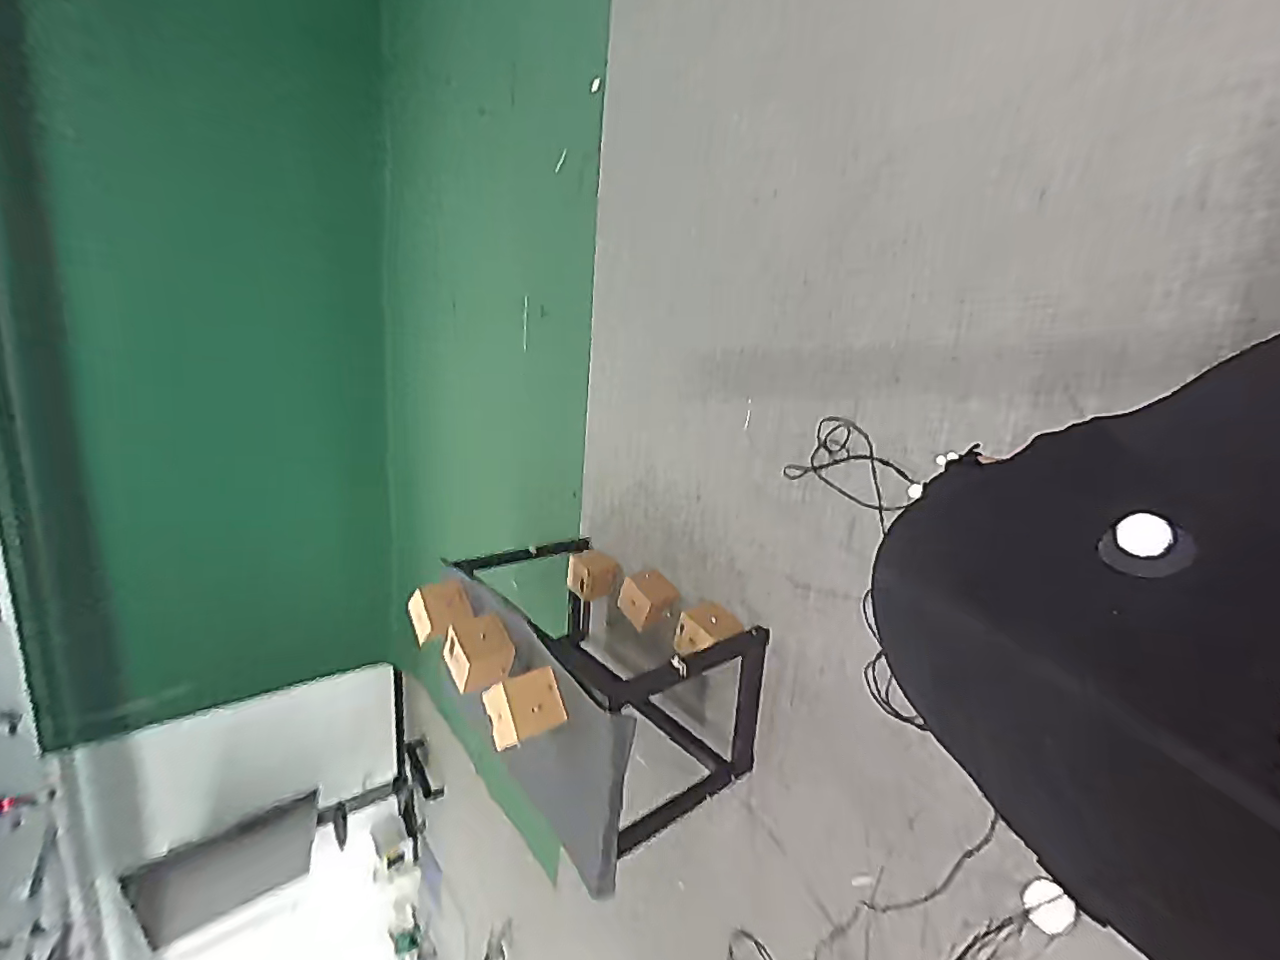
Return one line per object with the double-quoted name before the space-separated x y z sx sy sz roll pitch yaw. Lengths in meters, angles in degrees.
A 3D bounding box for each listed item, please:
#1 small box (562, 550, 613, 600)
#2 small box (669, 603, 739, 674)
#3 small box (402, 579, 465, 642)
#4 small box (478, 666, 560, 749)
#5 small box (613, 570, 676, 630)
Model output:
"small box" -0.248 0.446 2.577 0.179 0.176 0.168 26 113 46
"small box" 0.242 0.583 2.023 0.179 0.176 0.168 33 118 42
"small box" -0.794 0.501 2.093 0.179 0.176 0.168 -45 64 43
"small box" -0.355 0.672 1.609 0.179 0.176 0.168 -43 62 43
"small box" 0.018 0.495 2.273 0.179 0.176 0.168 42 125 37
